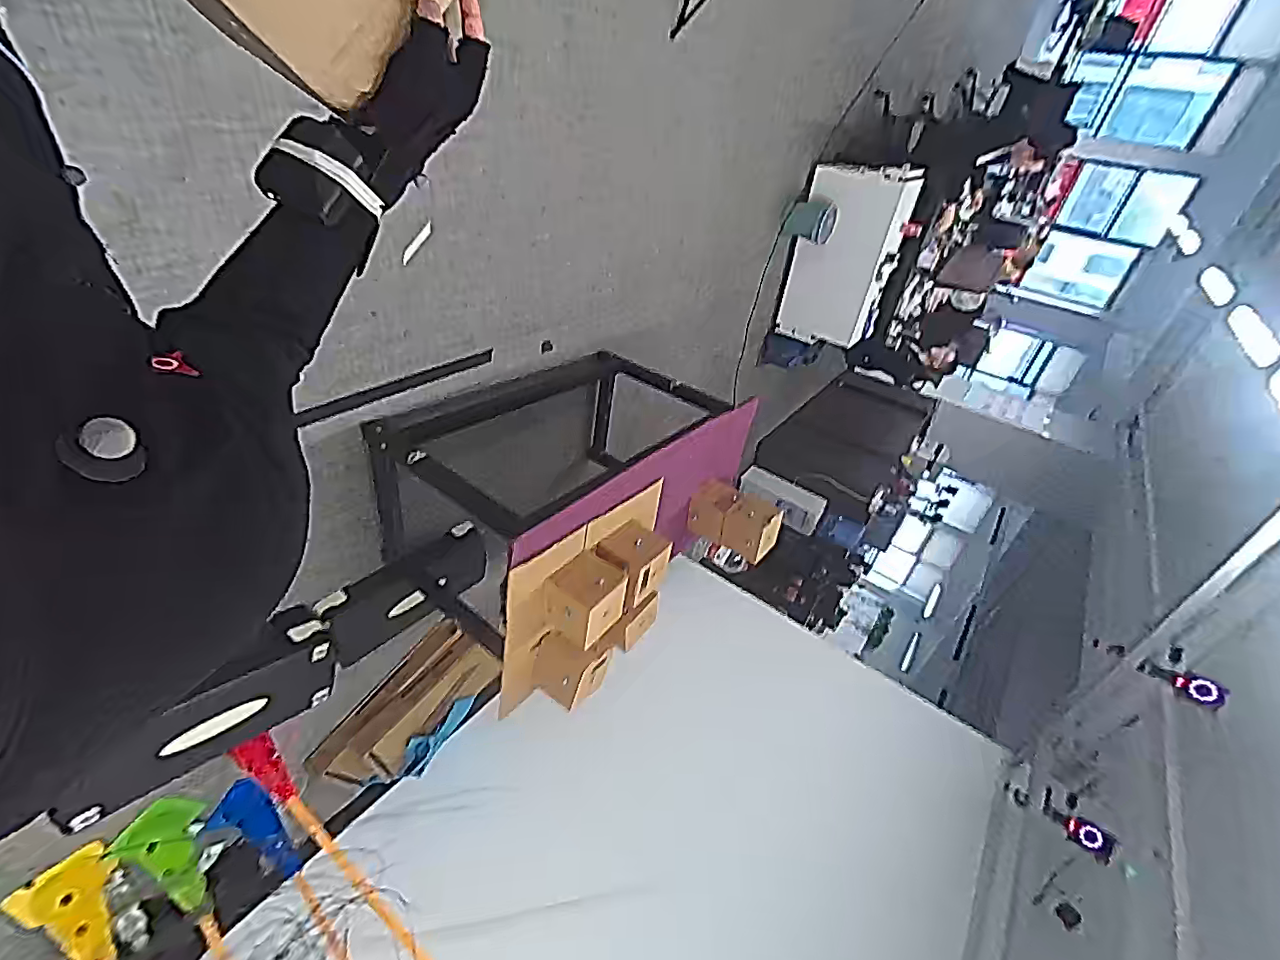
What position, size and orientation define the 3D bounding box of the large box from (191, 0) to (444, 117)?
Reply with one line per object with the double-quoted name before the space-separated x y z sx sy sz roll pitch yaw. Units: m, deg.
"large box" -0.321 -0.553 0.336 0.320 0.320 0.408 -49 153 4
